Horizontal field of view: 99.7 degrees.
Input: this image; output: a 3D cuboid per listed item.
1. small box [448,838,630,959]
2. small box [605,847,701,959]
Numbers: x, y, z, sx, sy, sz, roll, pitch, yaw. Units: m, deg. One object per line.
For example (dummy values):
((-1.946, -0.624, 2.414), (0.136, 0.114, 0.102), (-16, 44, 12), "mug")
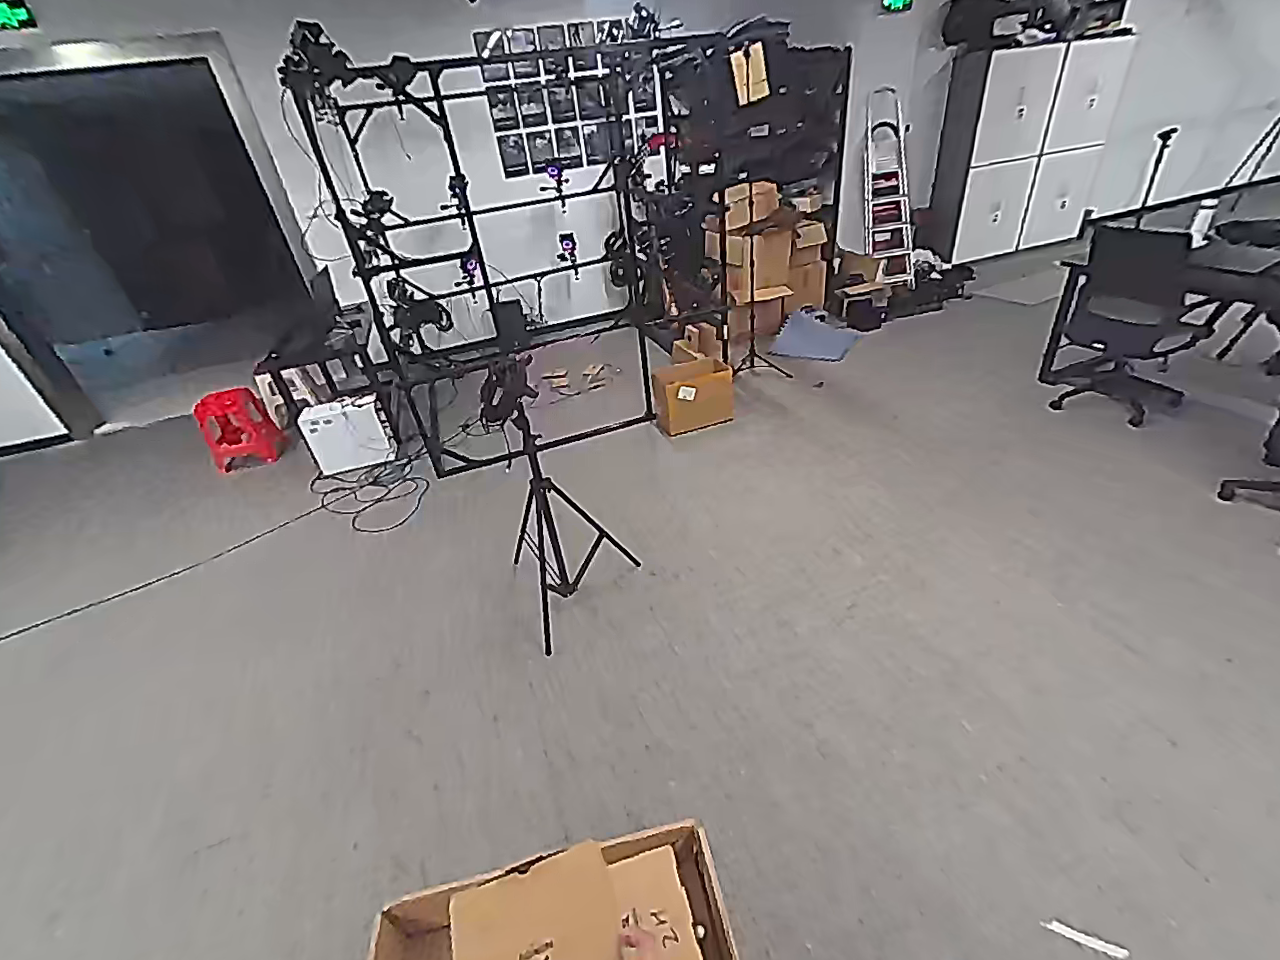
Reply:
((-0.098, 0.539, 0.591), (0.168, 0.176, 0.179), (-16, 45, -11), "small box")
((-0.005, 0.693, 0.797), (0.179, 0.176, 0.168), (-14, 33, -7), "small box")
